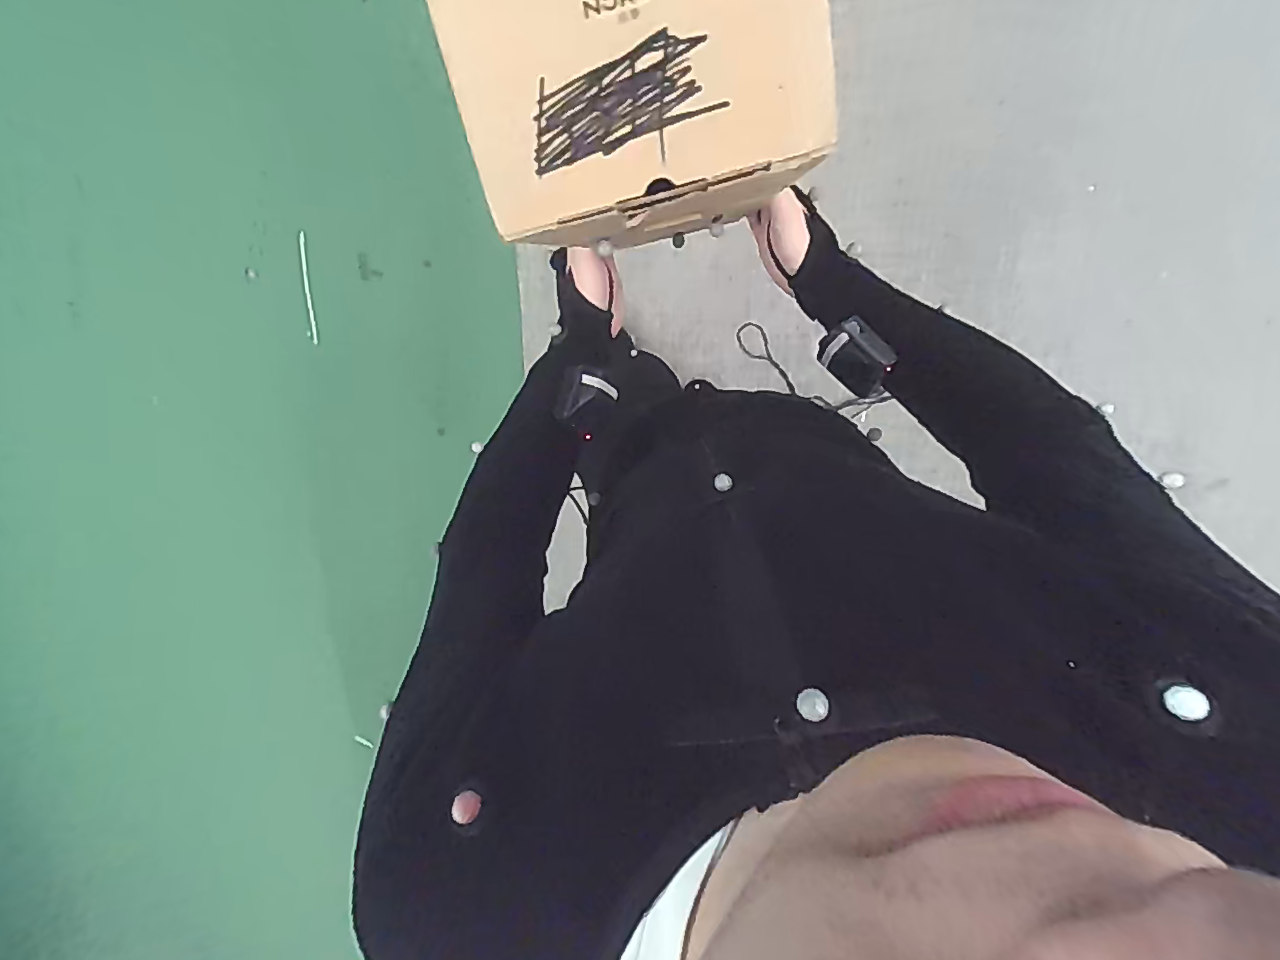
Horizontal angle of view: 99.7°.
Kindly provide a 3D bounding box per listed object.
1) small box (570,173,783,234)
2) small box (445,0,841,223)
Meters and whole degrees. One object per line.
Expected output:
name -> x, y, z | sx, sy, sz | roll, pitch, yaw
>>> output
small box -> 0.019, -0.312, 0.449 | 0.168, 0.176, 0.179 | -8, 111, 8
small box -> 0.002, -0.251, 0.298 | 0.168, 0.176, 0.179 | -10, 110, 9
